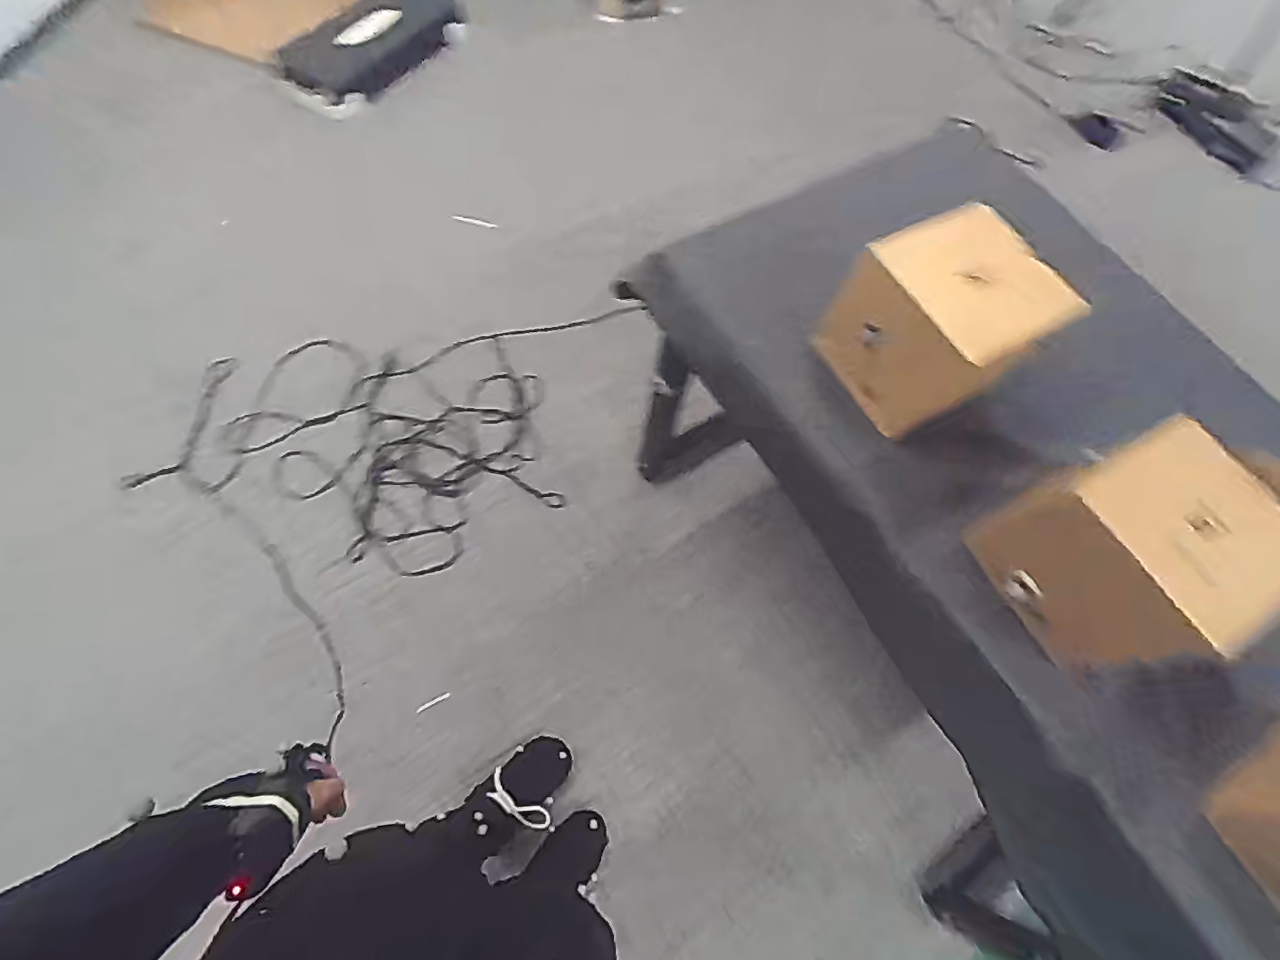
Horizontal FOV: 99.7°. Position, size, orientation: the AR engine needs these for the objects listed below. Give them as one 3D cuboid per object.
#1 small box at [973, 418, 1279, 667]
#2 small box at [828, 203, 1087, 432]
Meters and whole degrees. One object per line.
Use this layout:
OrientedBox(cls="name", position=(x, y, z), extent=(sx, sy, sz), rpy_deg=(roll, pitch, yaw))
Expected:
OrientedBox(cls="small box", position=(0.494, 0.071, 0.550), extent=(0.179, 0.176, 0.168), rpy_deg=(-26, 71, -15))
OrientedBox(cls="small box", position=(0.350, -0.183, 0.641), extent=(0.179, 0.176, 0.168), rpy_deg=(-26, 72, -17))
